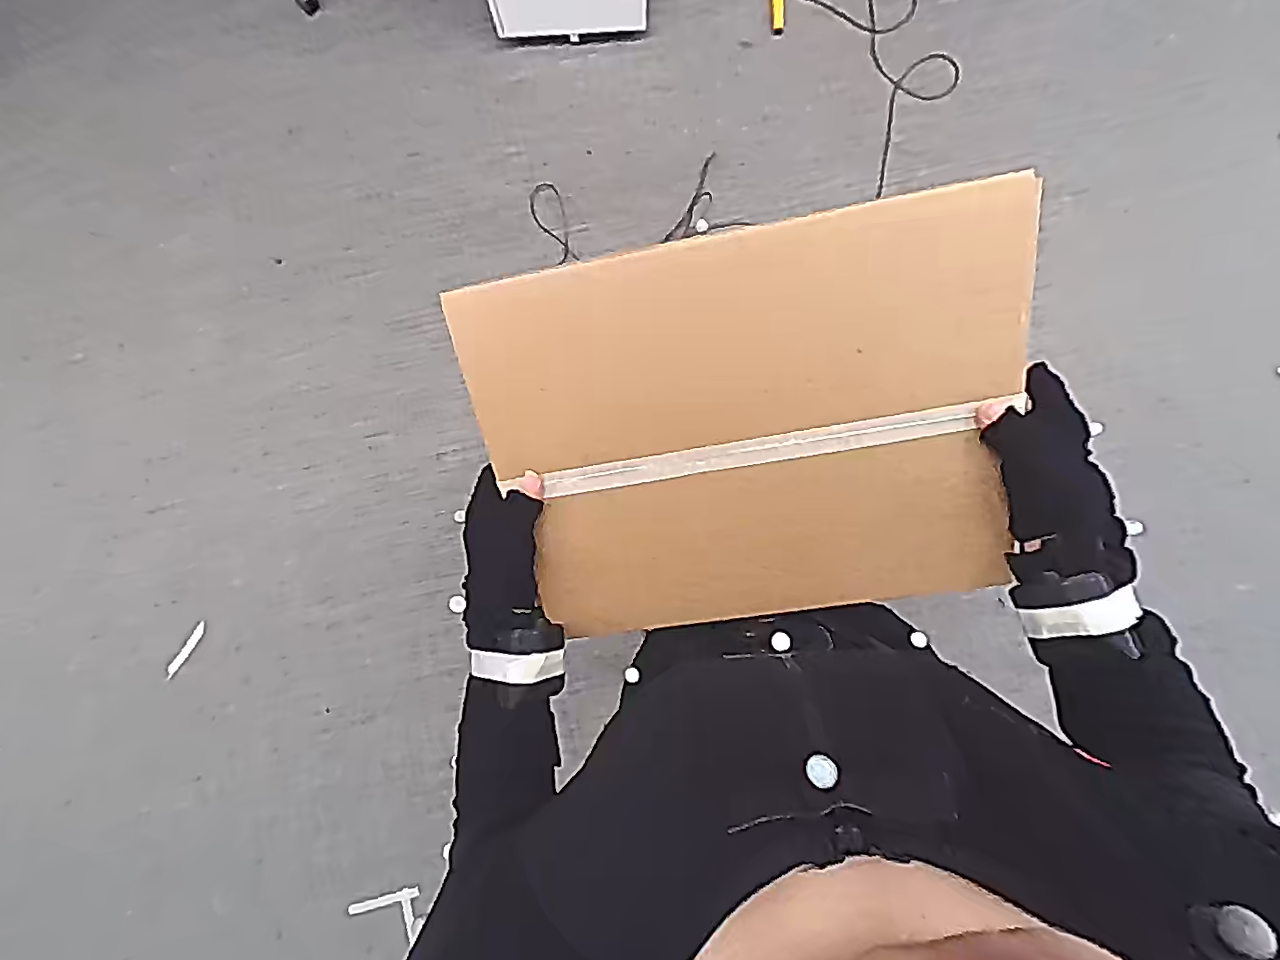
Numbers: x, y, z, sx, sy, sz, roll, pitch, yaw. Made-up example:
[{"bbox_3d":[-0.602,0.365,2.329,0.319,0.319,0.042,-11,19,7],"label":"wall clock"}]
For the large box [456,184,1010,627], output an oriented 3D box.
[{"bbox_3d":[0.091,-0.088,0.575,0.408,0.320,0.320,-9,112,7],"label":"large box"}]
